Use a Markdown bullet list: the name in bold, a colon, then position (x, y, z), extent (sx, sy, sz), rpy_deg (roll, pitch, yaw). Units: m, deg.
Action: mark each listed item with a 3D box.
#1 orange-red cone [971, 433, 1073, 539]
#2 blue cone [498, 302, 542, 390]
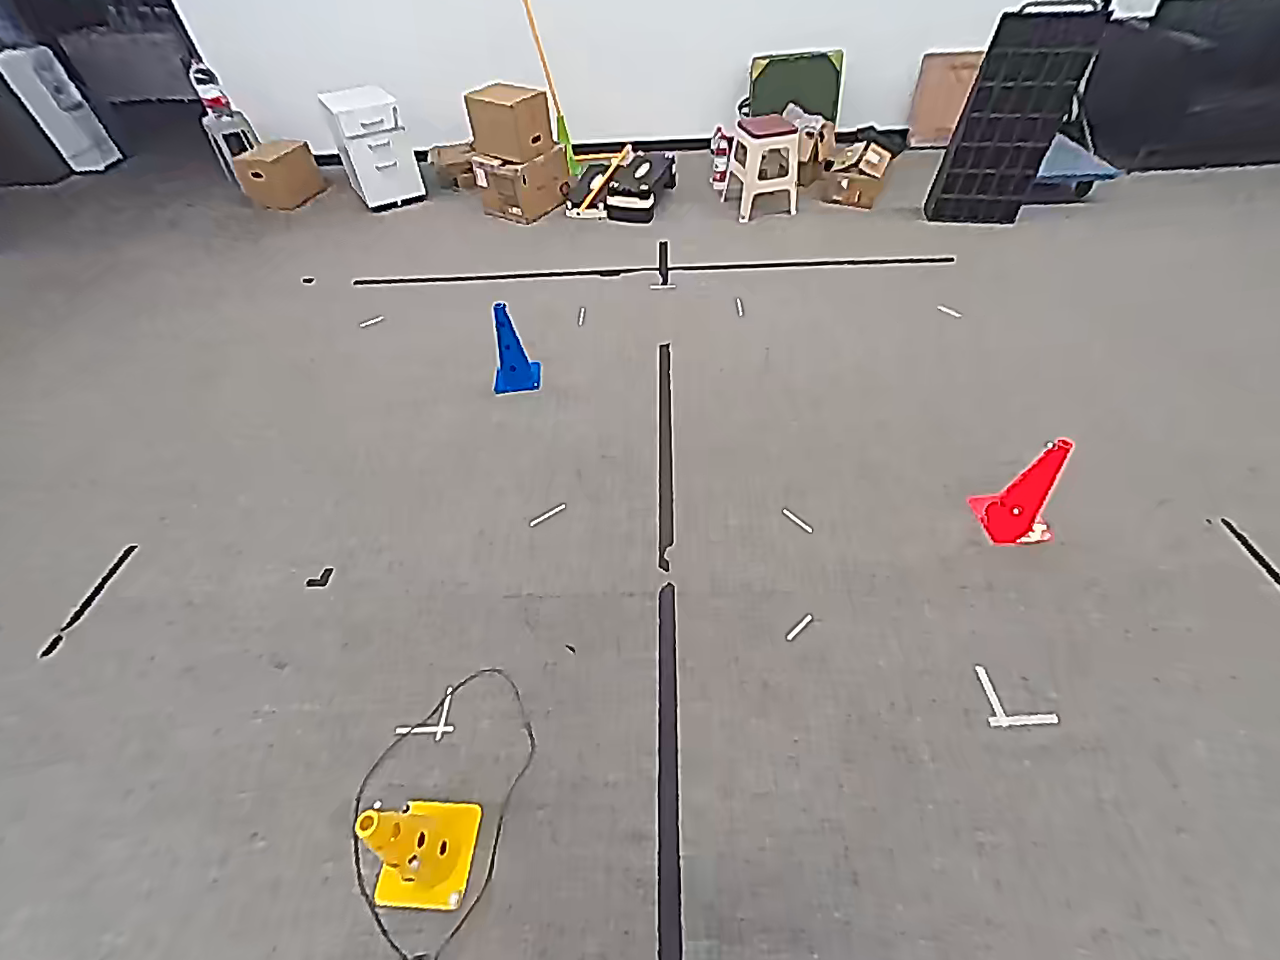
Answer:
- **orange-red cone**: position (1.222, -0.004, 1.669), extent (0.198, 0.360, 0.199), rpy_deg (-4, 47, -1)
- **blue cone**: position (-0.545, -0.574, 2.293), extent (0.192, 0.380, 0.193), rpy_deg (-5, 48, -1)
